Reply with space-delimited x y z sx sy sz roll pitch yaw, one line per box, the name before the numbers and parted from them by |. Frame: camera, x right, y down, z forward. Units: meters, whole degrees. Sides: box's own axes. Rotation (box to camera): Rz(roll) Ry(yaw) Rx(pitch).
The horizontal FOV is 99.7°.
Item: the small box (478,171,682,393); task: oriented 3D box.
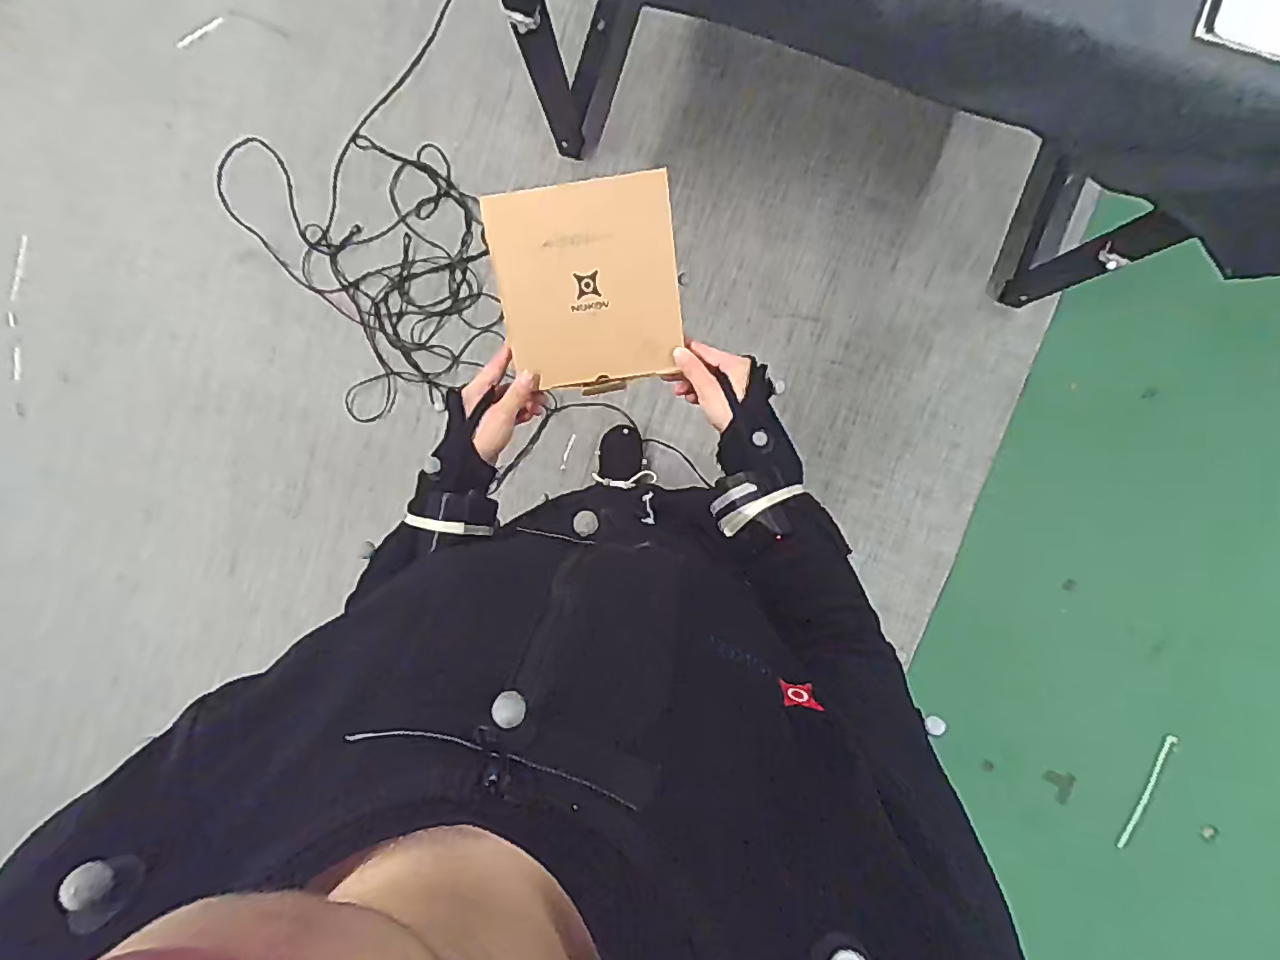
small box | -0.048 -0.203 0.564 0.168 0.176 0.179 -7 111 3
